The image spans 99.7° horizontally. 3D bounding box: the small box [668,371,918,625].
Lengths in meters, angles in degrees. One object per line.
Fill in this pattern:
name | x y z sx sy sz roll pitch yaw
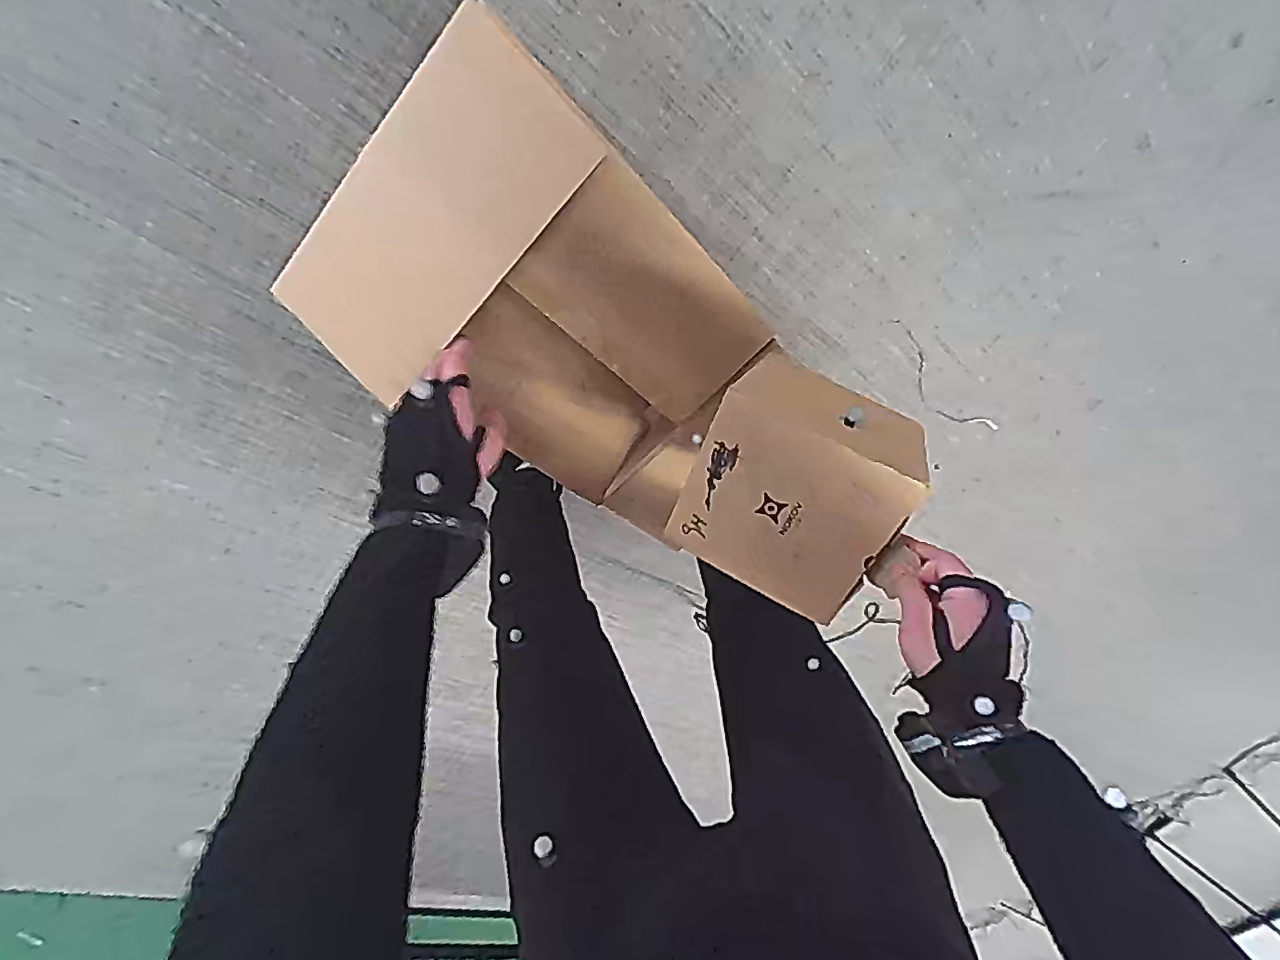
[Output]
small box | 0.158 0.004 0.549 0.179 0.176 0.168 28 121 16
